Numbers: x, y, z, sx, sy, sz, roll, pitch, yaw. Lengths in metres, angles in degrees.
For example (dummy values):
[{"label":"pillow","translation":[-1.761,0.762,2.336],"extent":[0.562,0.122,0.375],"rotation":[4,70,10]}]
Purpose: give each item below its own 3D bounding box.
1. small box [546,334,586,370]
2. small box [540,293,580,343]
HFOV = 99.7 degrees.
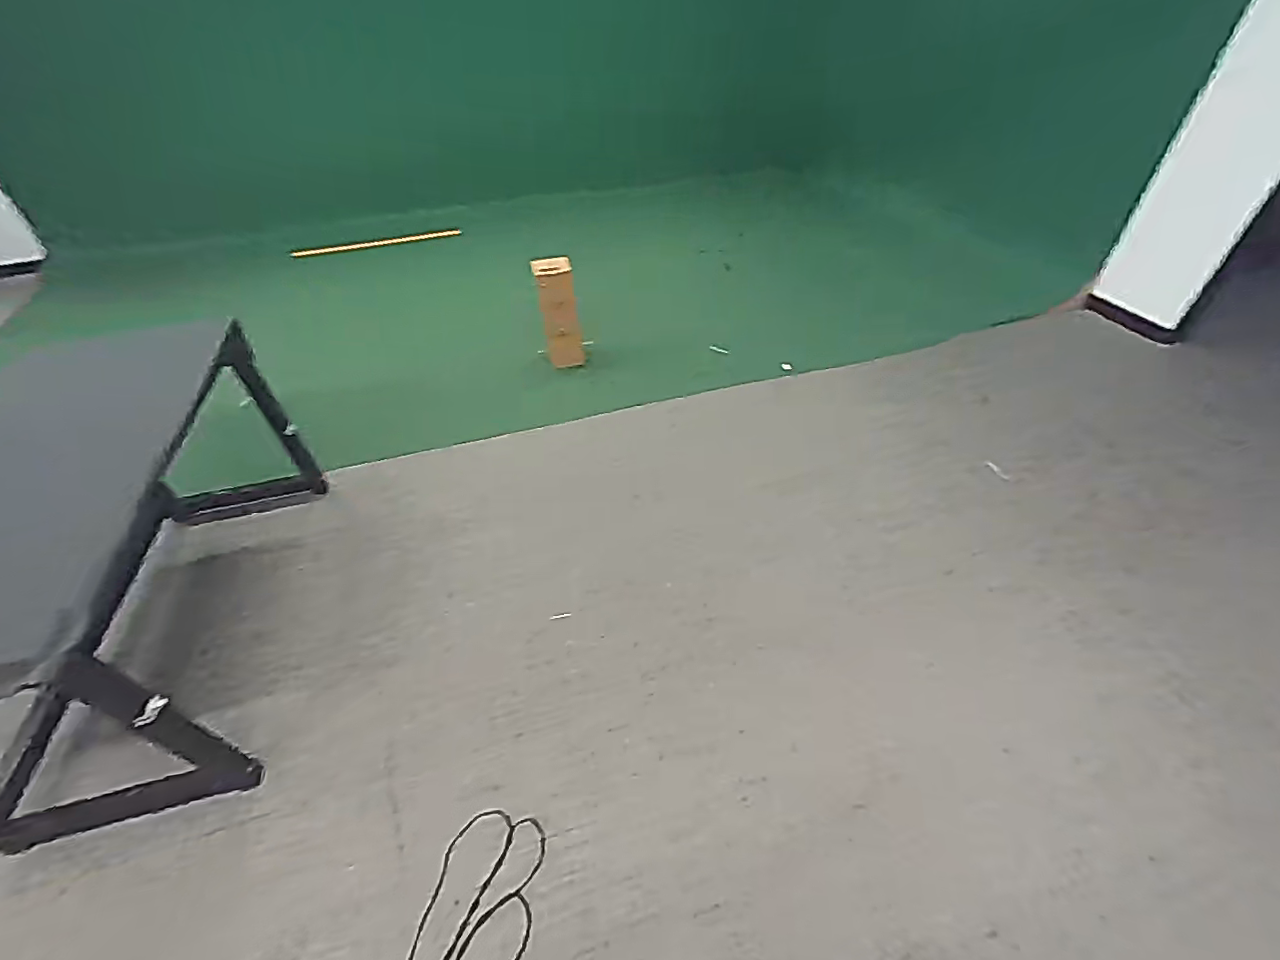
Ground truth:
[{"label":"small box","translation":[-0.384,-0.688,2.806],"extent":[0.168,0.176,0.179],"rotation":[-14,44,-9]},{"label":"small box","translation":[-0.399,-0.807,2.692],"extent":[0.168,0.176,0.179],"rotation":[-13,44,-7]}]
